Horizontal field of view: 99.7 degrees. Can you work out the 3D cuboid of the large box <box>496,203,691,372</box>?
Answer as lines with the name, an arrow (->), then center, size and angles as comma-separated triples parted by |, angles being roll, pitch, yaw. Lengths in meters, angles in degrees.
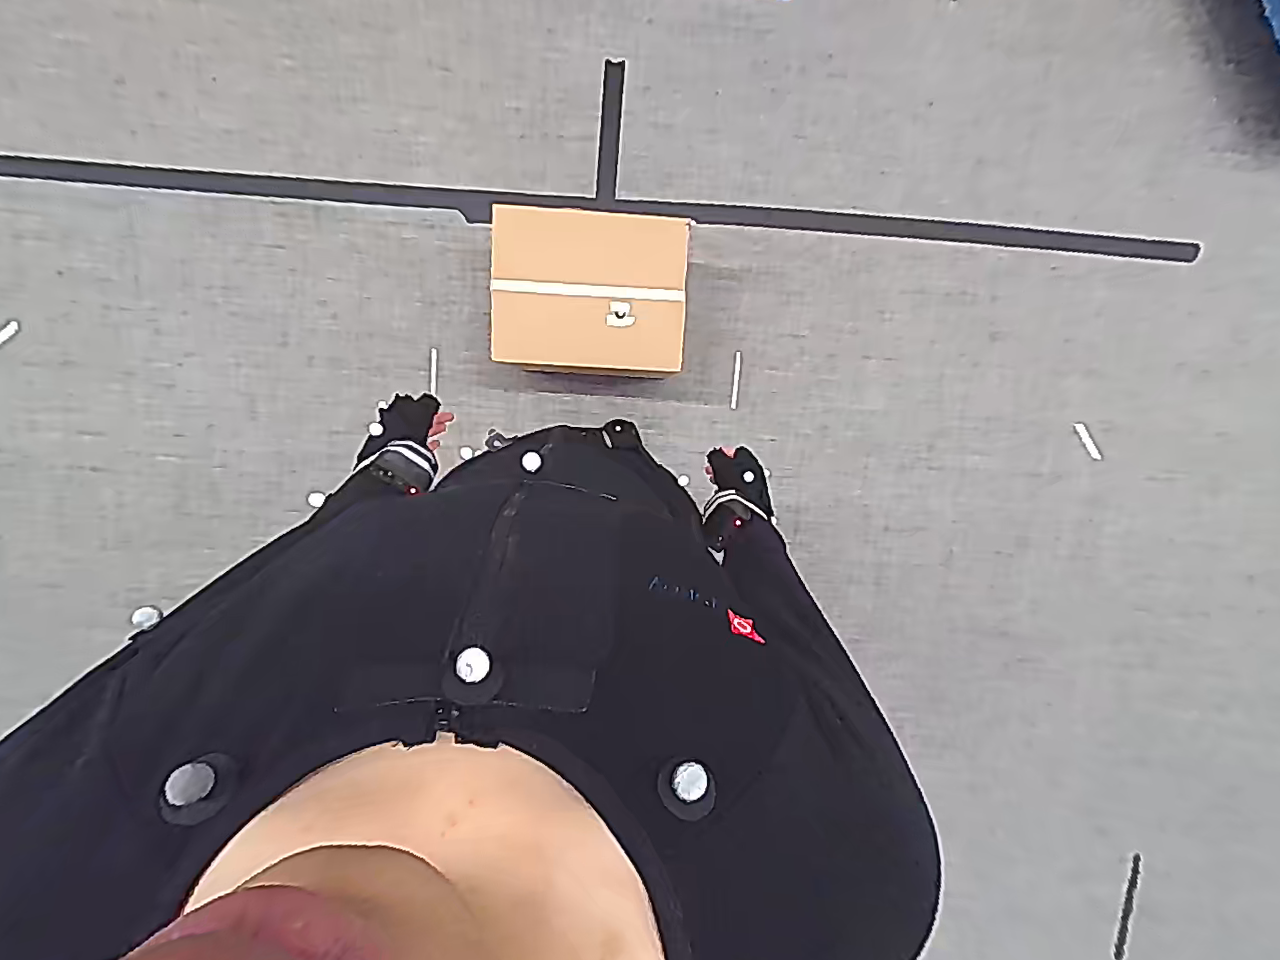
large box -> -0.108, -0.423, 1.269 | 0.408, 0.320, 0.320 | 2, 99, -4
